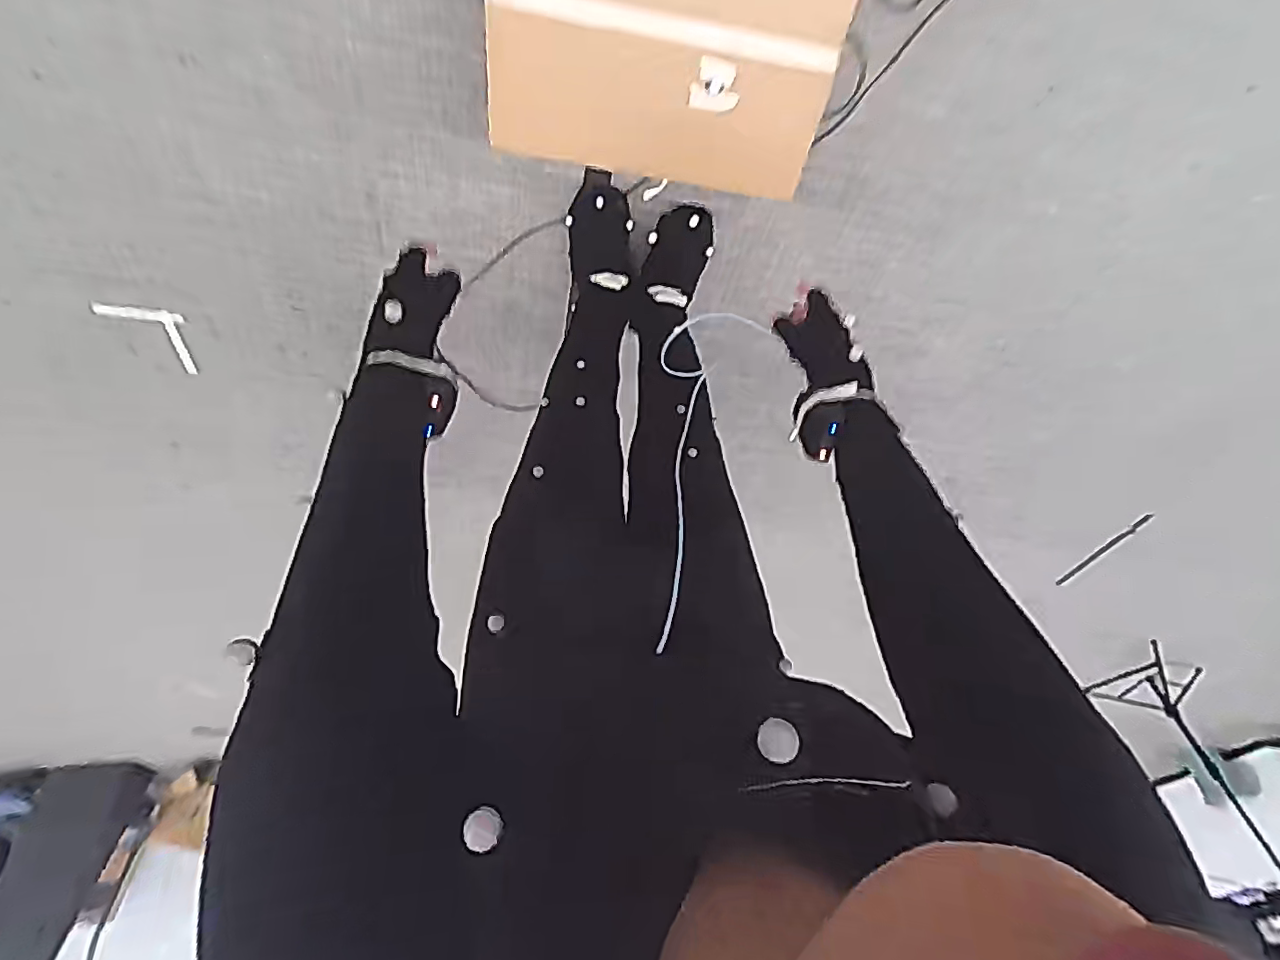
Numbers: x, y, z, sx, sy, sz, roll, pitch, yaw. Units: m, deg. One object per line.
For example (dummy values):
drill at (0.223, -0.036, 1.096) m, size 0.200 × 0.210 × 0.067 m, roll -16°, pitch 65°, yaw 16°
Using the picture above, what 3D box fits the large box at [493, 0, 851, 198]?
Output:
large box at (0.028, -0.620, 0.729) m, size 0.408 × 0.320 × 0.320 m, roll 6°, pitch 134°, yaw -7°
